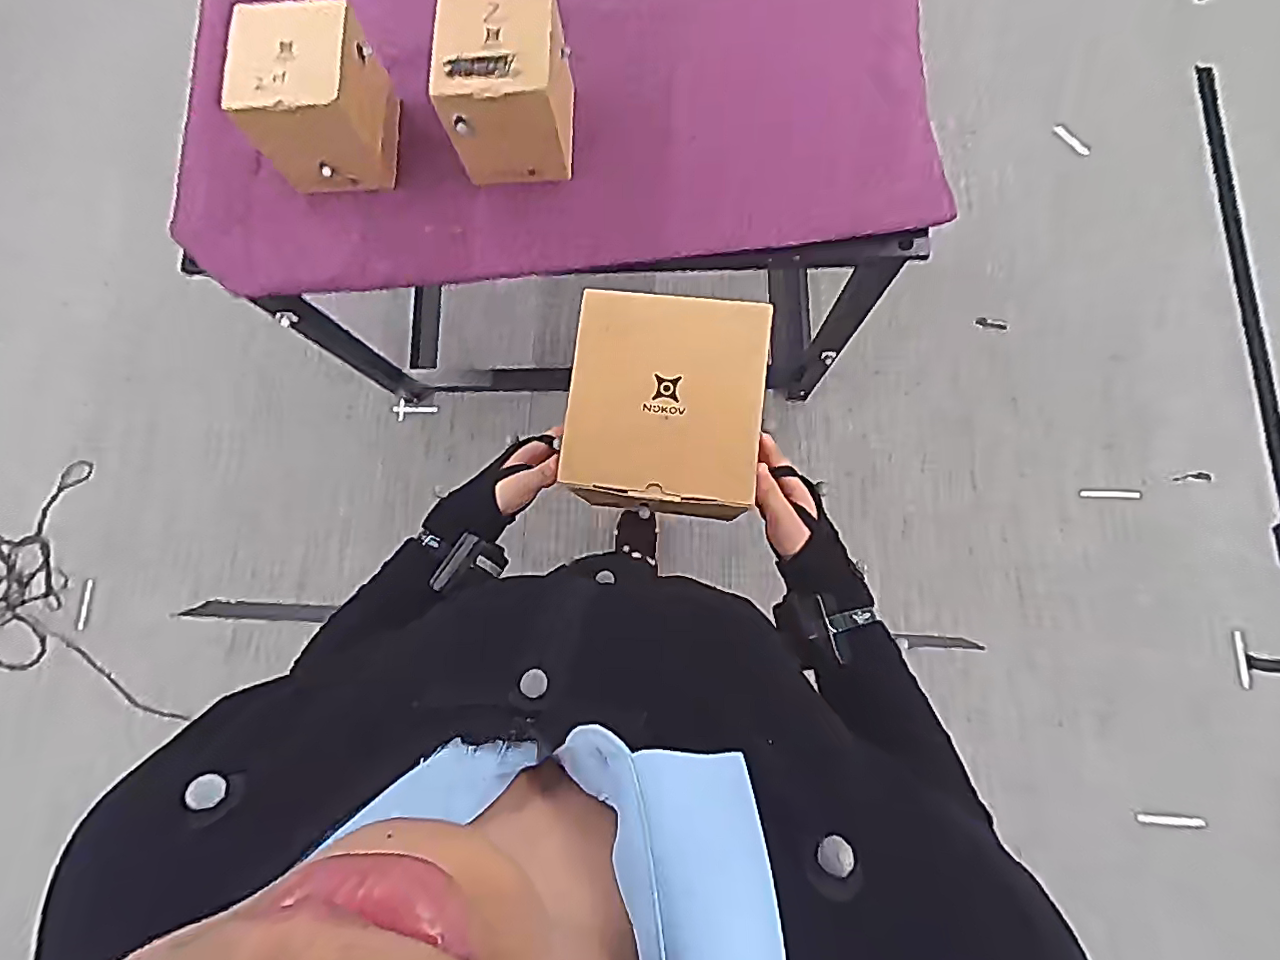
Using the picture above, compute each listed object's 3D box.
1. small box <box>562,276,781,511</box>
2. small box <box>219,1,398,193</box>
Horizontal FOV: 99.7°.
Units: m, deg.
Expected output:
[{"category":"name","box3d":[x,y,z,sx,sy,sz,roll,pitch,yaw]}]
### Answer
[{"category":"small box","box3d":[0.031,-0.070,0.523,0.168,0.176,0.179,7,84,4]},{"category":"small box","box3d":[-0.490,-0.575,0.826,0.168,0.176,0.179,-2,80,2]}]
